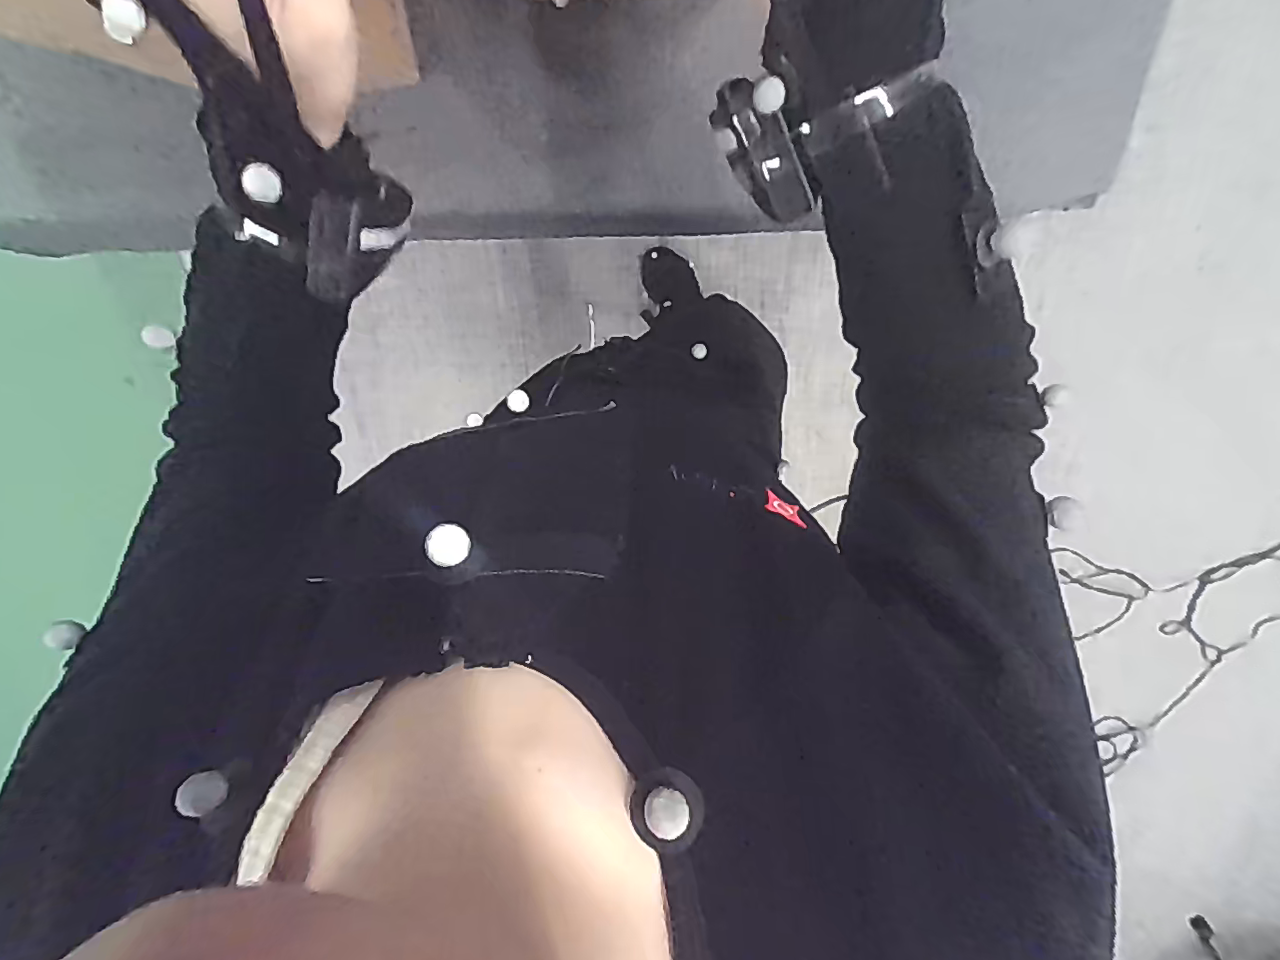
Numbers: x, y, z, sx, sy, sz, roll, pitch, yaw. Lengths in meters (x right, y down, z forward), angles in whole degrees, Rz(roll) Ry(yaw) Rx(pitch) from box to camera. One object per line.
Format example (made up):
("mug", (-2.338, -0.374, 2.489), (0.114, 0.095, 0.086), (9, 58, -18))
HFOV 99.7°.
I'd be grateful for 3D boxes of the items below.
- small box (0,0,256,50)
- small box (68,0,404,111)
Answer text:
("small box", (-0.320, -0.333, 0.249), (0.179, 0.176, 0.168), (-3, 112, 7))
("small box", (-0.300, -0.396, 0.400), (0.179, 0.176, 0.168), (-2, 112, 7))
